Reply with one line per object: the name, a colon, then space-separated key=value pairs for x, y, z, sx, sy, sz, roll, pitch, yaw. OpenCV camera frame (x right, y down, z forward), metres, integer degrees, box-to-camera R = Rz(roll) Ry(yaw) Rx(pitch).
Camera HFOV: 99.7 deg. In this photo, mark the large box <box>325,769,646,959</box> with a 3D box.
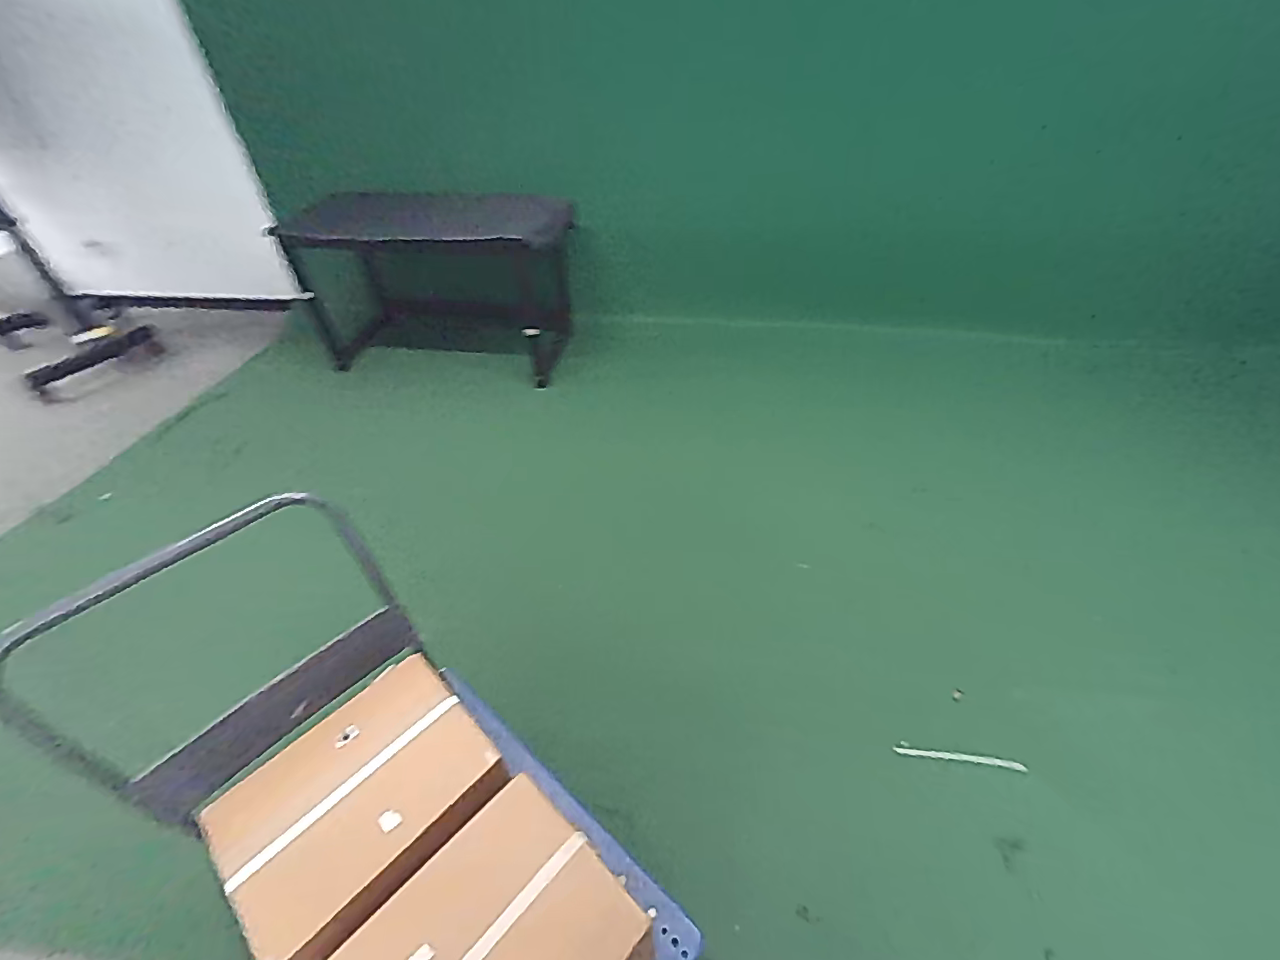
large box: x=-0.231 y=0.779 z=0.865 sx=0.320 sy=0.320 sz=0.408 roll=31 pitch=52 yaw=32
